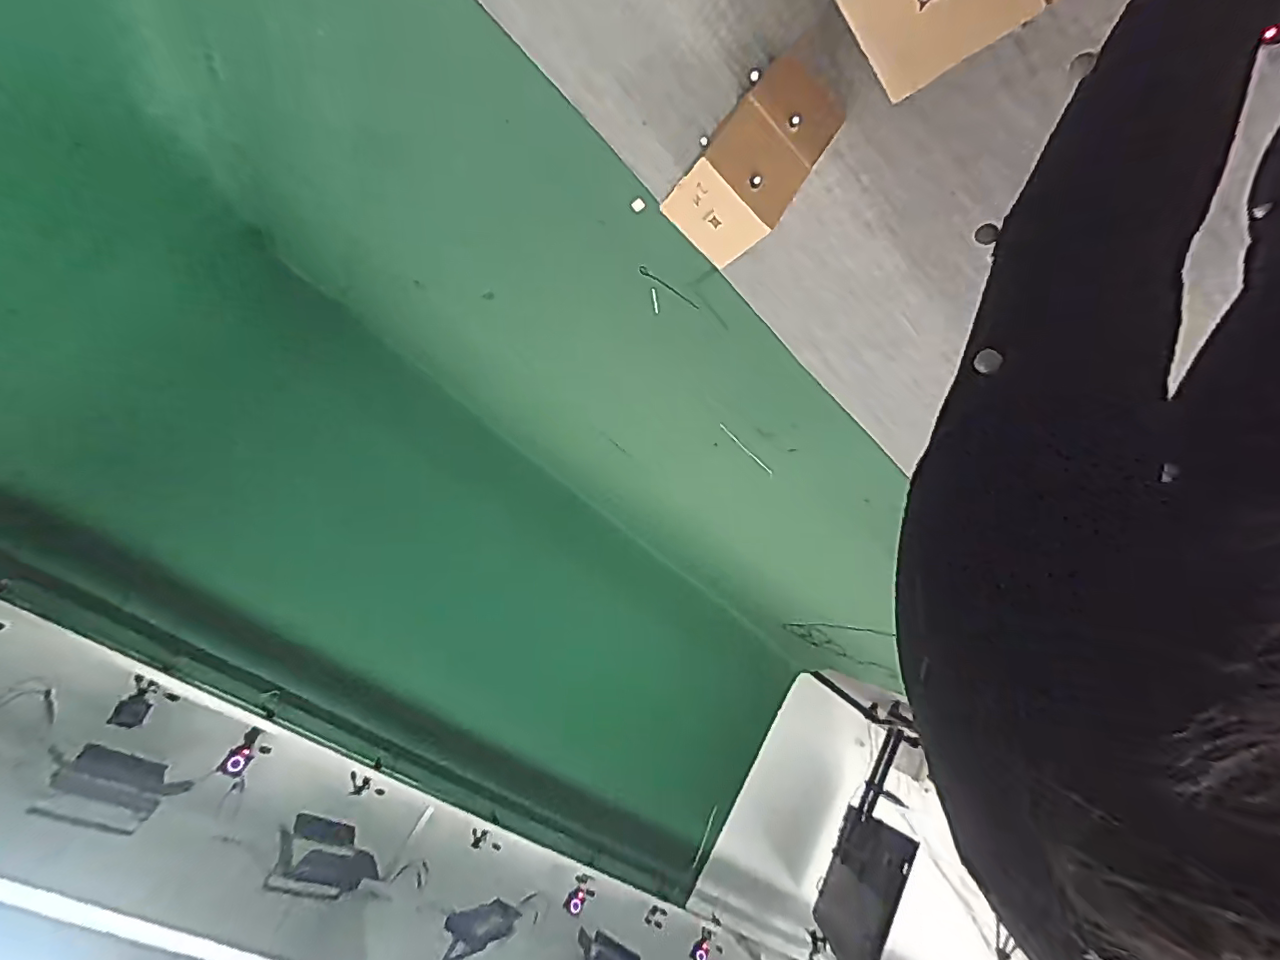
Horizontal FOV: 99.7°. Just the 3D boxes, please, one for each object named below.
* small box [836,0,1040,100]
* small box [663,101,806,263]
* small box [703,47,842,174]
[{"bbox_3d":[0.358,-0.599,0.616,0.168,0.176,0.179,41,161,-24],"label":"small box"},{"bbox_3d":[0.183,-0.562,1.032,0.179,0.176,0.168,39,161,-18],"label":"small box"},{"bbox_3d":[0.267,-0.696,1.078,0.179,0.176,0.168,40,161,-20],"label":"small box"}]
